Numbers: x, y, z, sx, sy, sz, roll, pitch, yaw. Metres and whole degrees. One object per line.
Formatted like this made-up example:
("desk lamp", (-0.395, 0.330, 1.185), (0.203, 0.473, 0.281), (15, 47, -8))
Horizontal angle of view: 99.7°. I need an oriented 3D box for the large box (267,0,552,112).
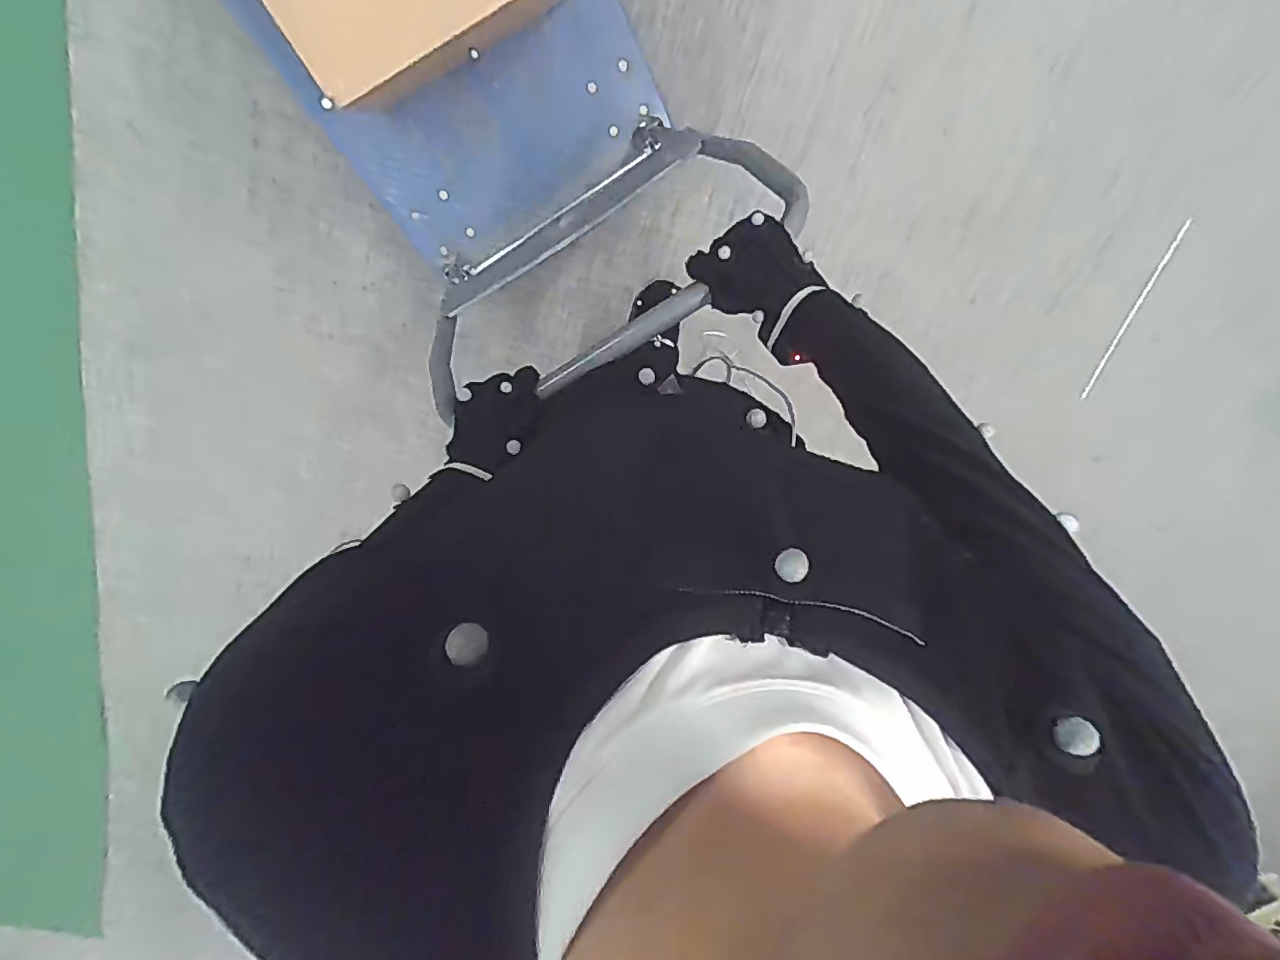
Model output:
("large box", (-0.329, -0.793, 0.762), (0.408, 0.320, 0.320), (-26, 125, 7))
